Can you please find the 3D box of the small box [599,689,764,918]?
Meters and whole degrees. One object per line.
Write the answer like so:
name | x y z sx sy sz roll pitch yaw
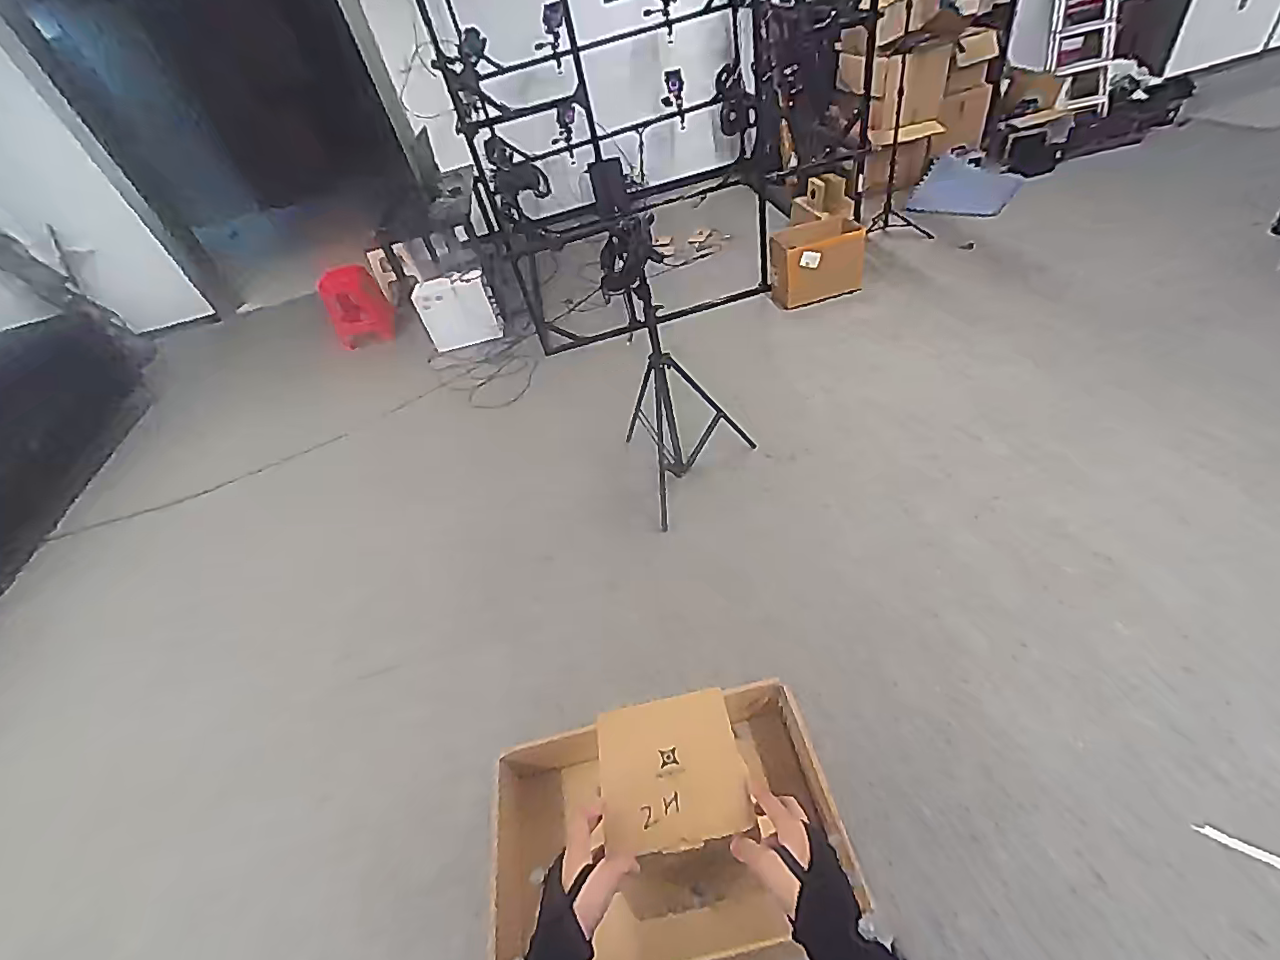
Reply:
small box | 0.049 0.398 0.673 0.168 0.176 0.179 -13 34 1
